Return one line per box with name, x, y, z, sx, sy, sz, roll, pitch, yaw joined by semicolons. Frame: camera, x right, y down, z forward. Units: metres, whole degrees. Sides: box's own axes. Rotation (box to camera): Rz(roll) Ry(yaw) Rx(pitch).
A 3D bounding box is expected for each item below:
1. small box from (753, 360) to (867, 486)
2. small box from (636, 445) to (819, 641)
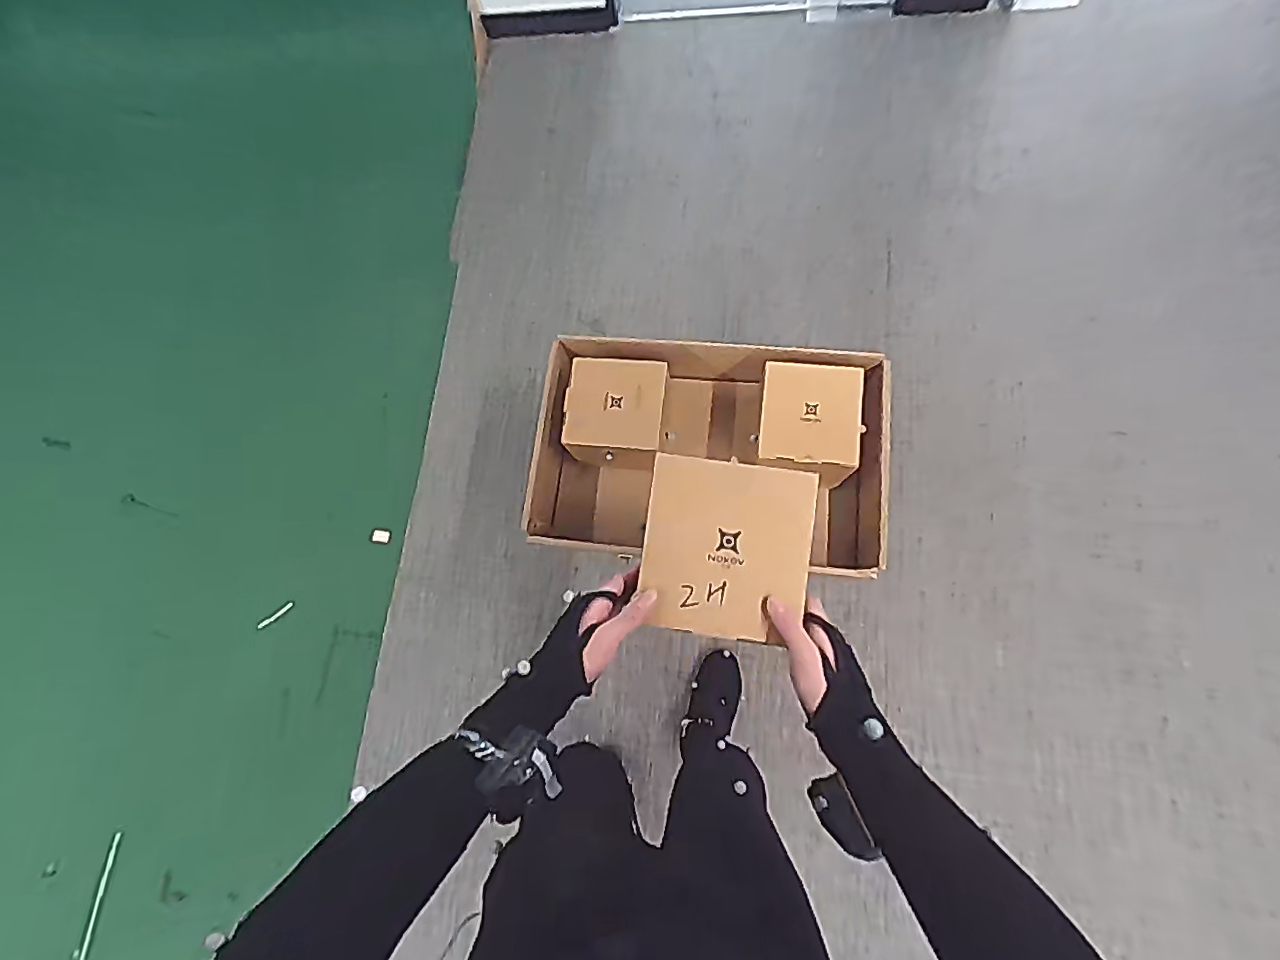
small box;0.300;-0.098;0.985;0.168;0.176;0.179;7;79;8
small box;0.090;0.067;0.616;0.168;0.176;0.179;8;87;3
